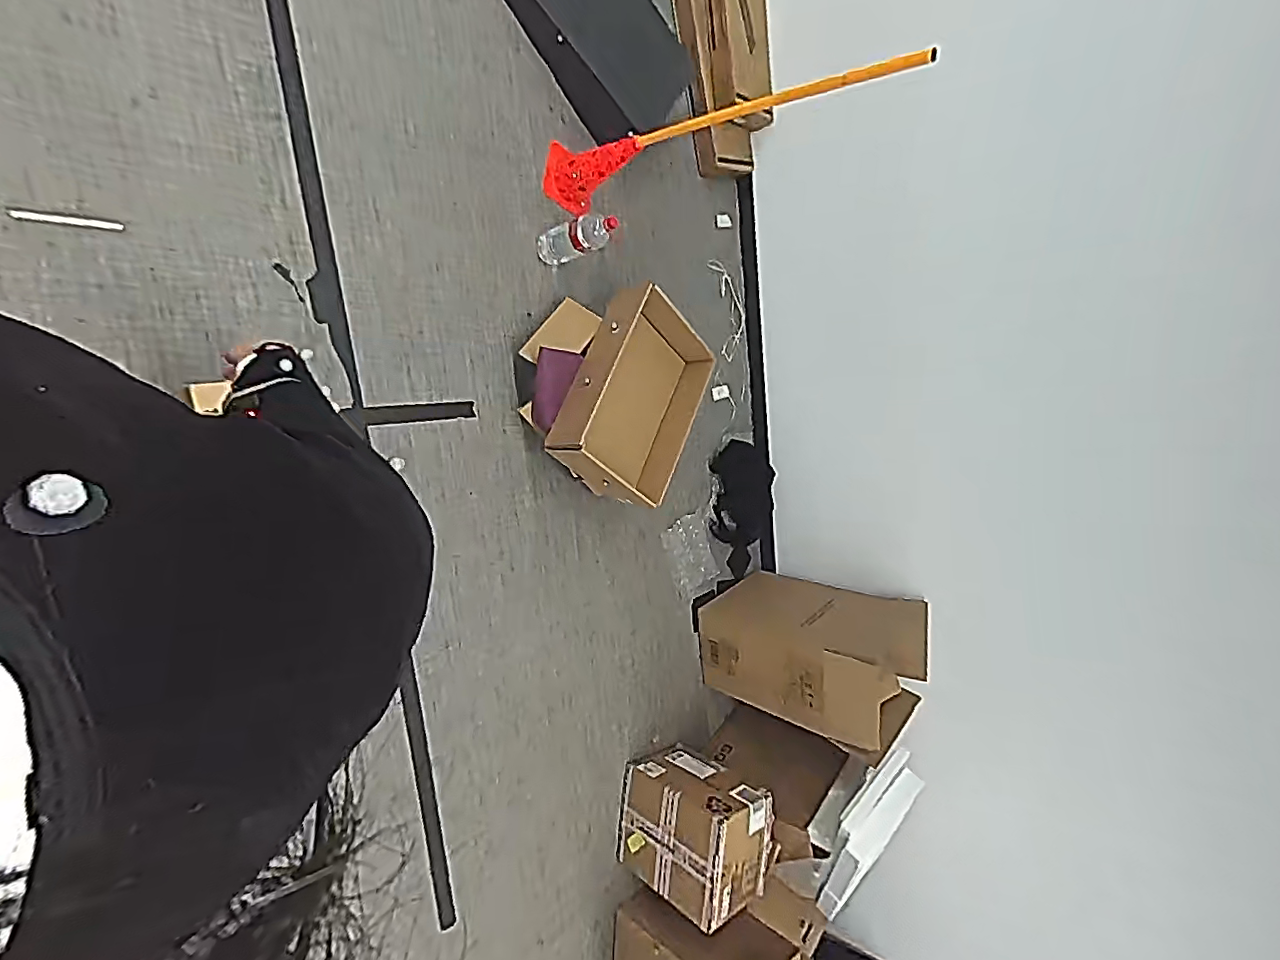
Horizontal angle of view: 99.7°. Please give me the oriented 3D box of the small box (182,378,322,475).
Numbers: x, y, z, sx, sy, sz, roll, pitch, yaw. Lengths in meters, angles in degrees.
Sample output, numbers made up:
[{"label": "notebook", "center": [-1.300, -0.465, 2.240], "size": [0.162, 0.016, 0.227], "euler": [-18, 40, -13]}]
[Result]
[{"label": "small box", "center": [-0.762, -0.108, 1.063], "size": [0.179, 0.176, 0.168], "euler": [-17, 104, -45]}]
